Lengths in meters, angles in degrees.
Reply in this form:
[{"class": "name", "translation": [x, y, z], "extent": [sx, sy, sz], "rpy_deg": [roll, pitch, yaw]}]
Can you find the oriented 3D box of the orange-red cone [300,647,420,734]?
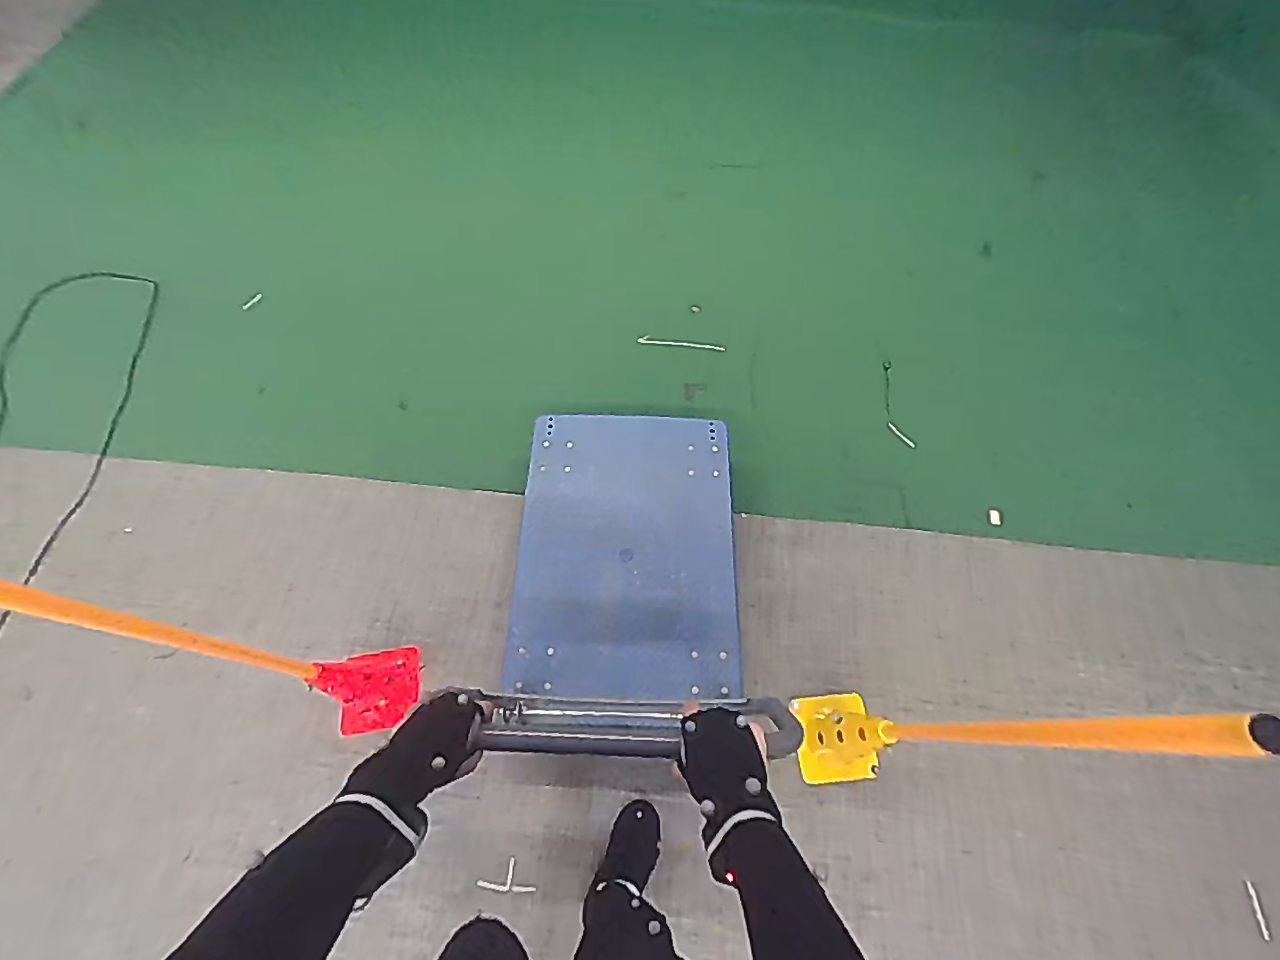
[{"class": "orange-red cone", "translation": [-0.683, 0.472, 1.265], "extent": [0.199, 0.360, 0.198], "rpy_deg": [-8, 63, -4]}]
